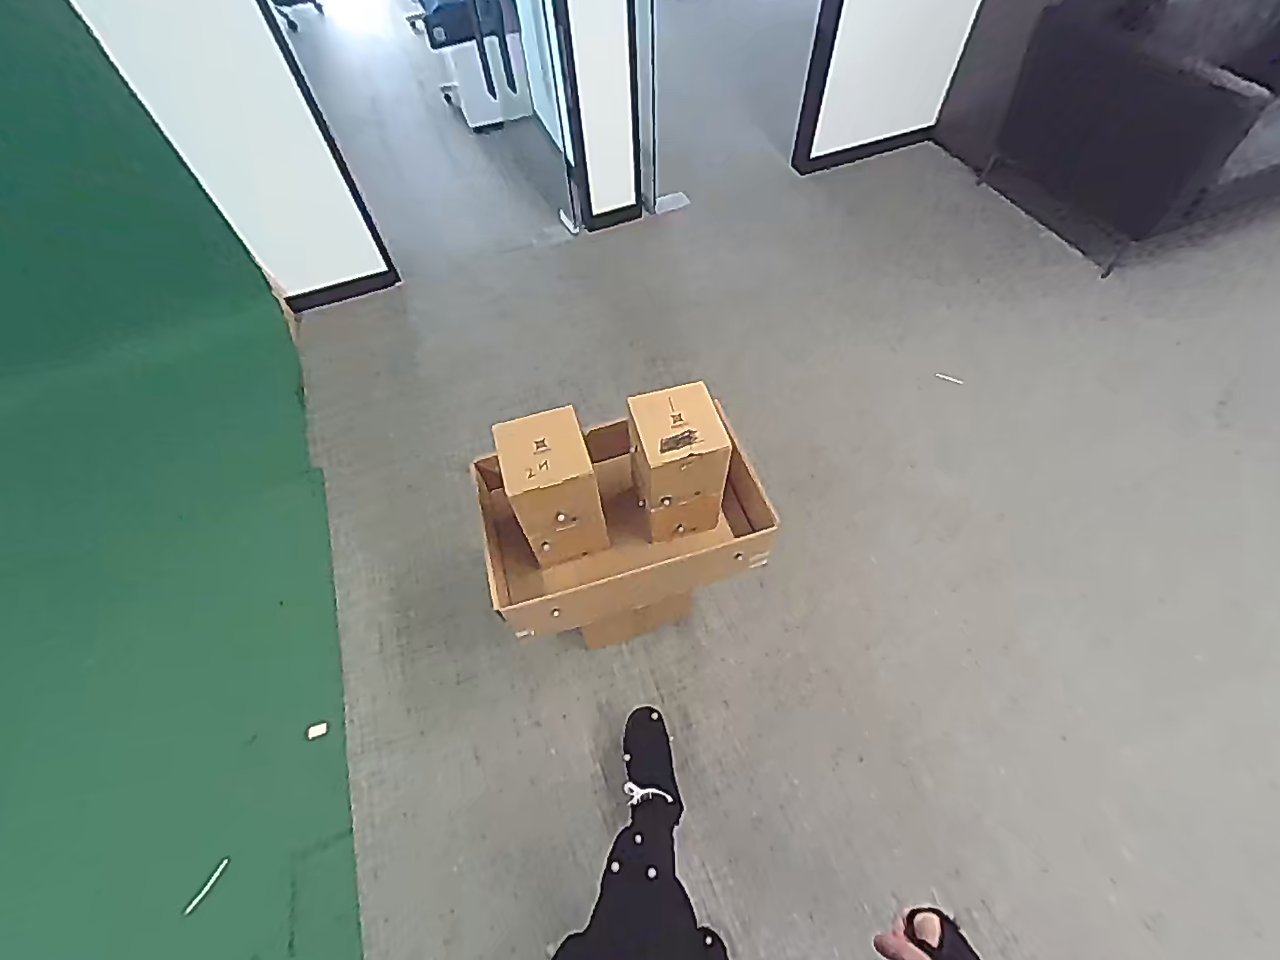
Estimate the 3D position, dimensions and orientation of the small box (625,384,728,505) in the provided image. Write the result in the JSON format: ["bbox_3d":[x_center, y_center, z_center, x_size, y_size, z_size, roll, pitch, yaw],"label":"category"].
[{"bbox_3d":[0.072,-0.065,1.115,0.168,0.176,0.179,-13,57,-7],"label":"small box"}]

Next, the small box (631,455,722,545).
[{"bbox_3d":[0.078,0.025,1.252,0.168,0.176,0.179,-14,58,-7],"label":"small box"}]

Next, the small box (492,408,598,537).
[{"bbox_3d":[-0.188,-0.013,1.089,0.168,0.176,0.179,-16,57,-7],"label":"small box"}]
